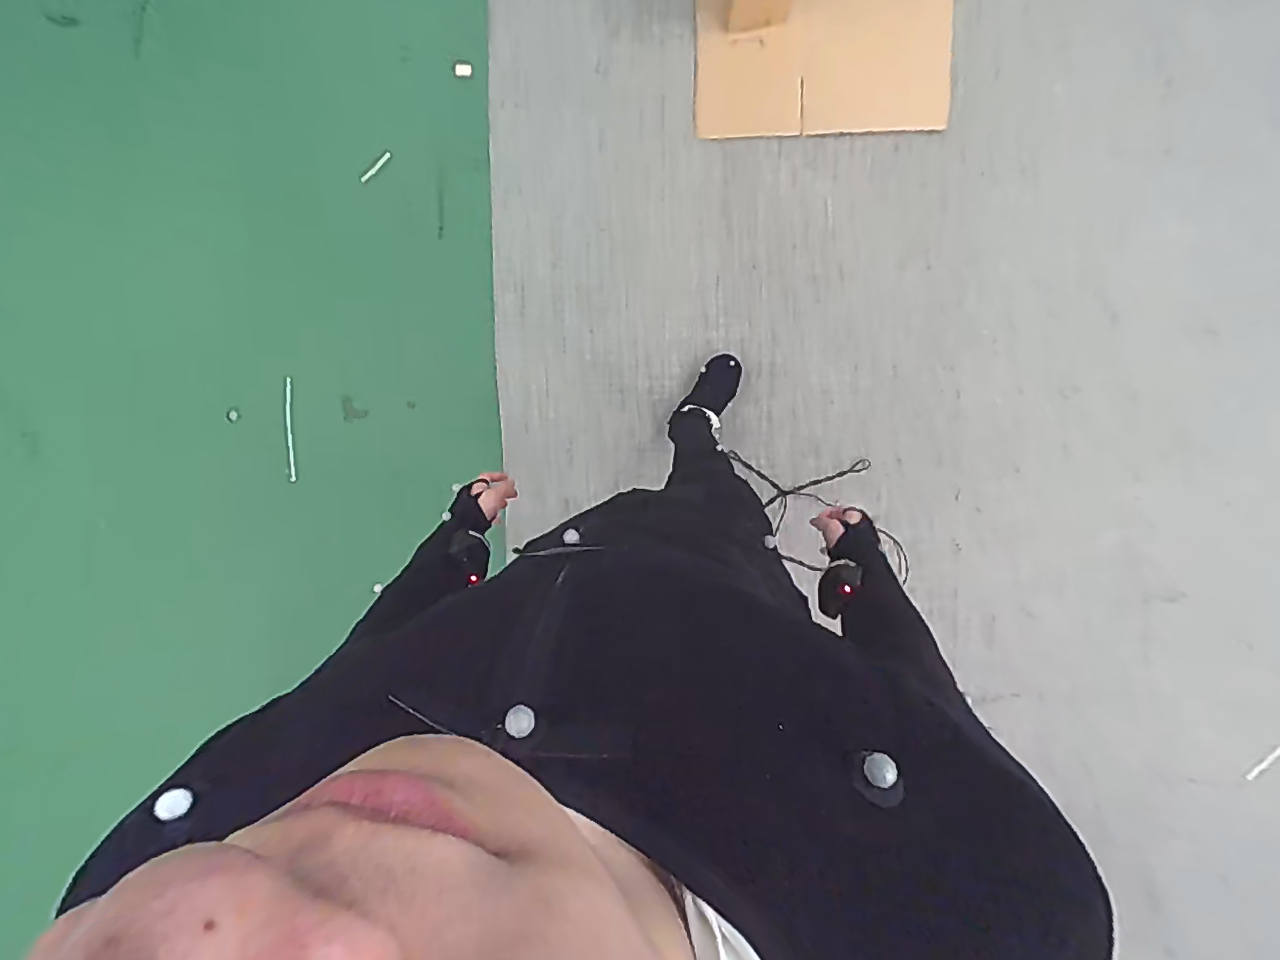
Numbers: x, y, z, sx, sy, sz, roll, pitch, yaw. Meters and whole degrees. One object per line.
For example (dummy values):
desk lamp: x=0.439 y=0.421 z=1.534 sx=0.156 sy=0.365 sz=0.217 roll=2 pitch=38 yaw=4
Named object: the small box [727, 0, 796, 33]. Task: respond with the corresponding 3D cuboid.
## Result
small box: x=0.314 y=-1.317 z=1.396 sx=0.168 sy=0.176 sz=0.179 roll=-8 pitch=93 yaw=4
